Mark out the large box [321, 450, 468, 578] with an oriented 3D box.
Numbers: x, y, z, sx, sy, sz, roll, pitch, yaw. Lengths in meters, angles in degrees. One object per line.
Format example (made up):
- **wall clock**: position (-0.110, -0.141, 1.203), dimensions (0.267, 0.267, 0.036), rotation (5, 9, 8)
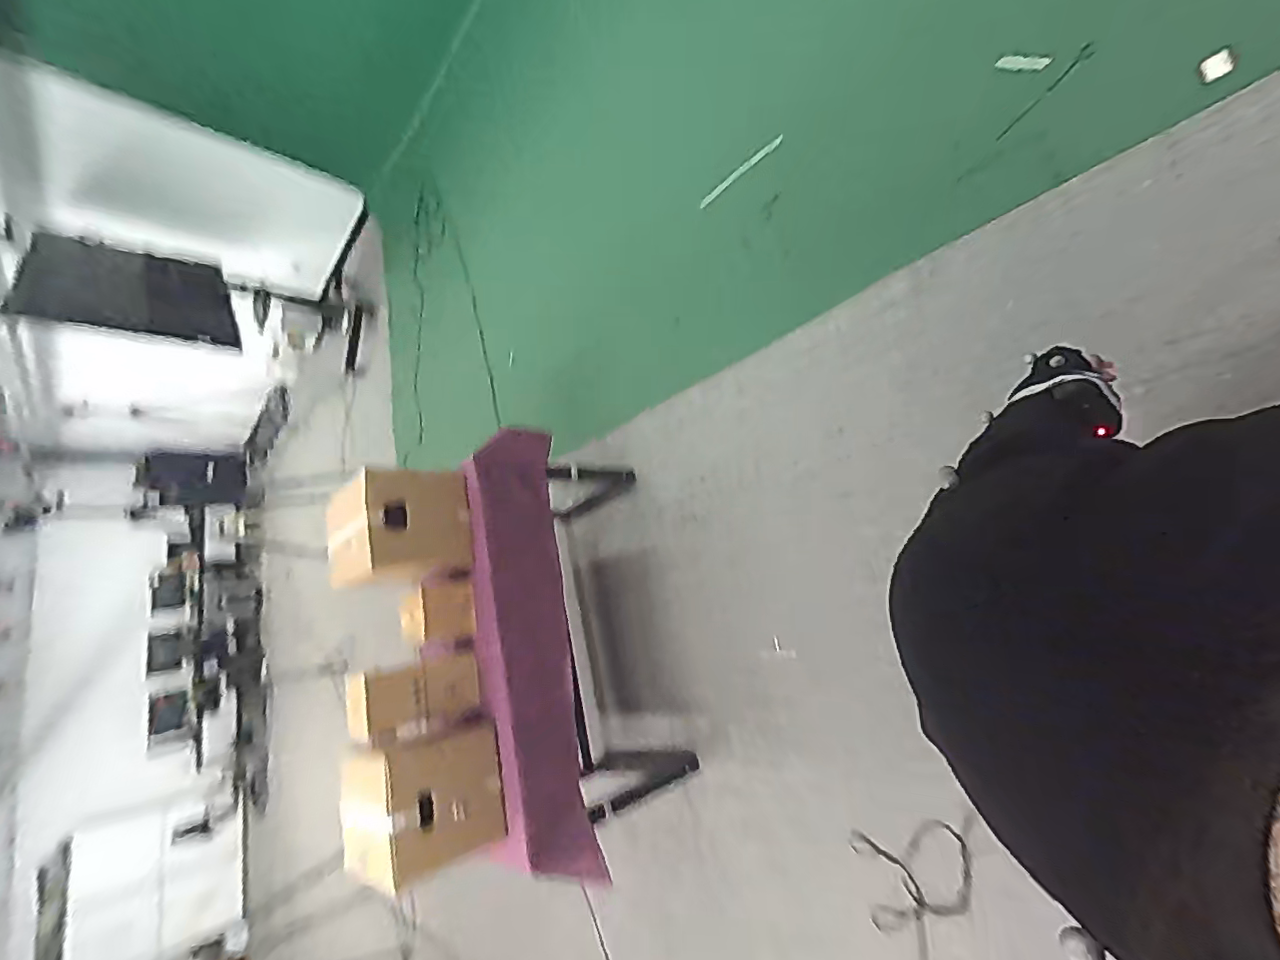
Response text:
- **large box**: position (-0.810, 0.124, 1.764), dimensions (0.408, 0.320, 0.320), rotation (-22, 73, 41)
